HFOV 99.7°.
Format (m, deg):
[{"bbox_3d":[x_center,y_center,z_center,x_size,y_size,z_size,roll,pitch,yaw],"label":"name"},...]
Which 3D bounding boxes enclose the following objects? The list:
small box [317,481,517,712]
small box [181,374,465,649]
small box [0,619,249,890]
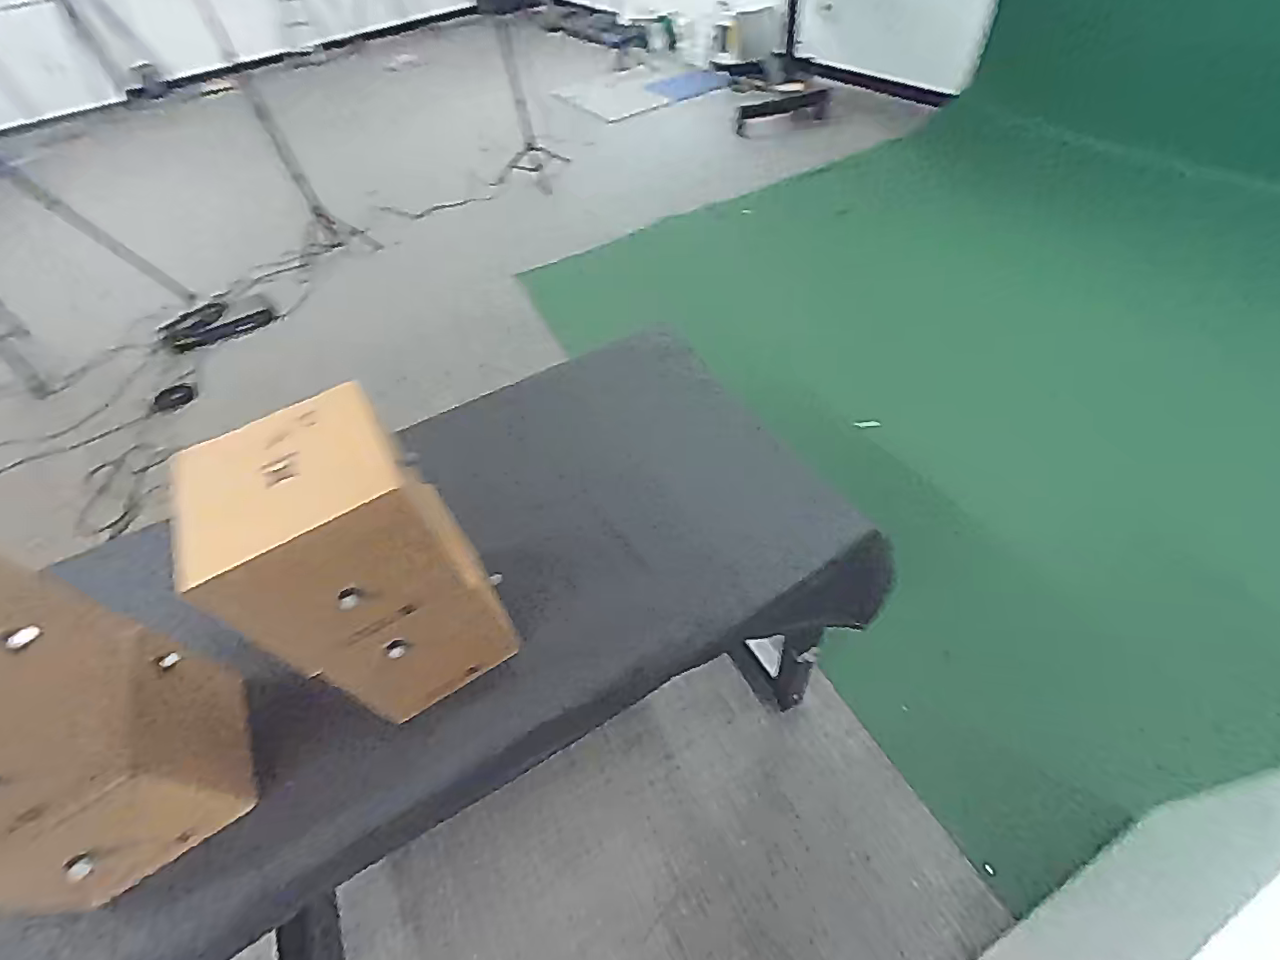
[{"bbox_3d":[-0.270,0.140,0.647,0.168,0.176,0.179,-28,51,-16],"label":"small box"},{"bbox_3d":[-0.291,0.037,0.519,0.168,0.176,0.179,-28,52,-16],"label":"small box"},{"bbox_3d":[-0.545,0.286,0.561,0.168,0.176,0.179,-30,52,-17],"label":"small box"}]
